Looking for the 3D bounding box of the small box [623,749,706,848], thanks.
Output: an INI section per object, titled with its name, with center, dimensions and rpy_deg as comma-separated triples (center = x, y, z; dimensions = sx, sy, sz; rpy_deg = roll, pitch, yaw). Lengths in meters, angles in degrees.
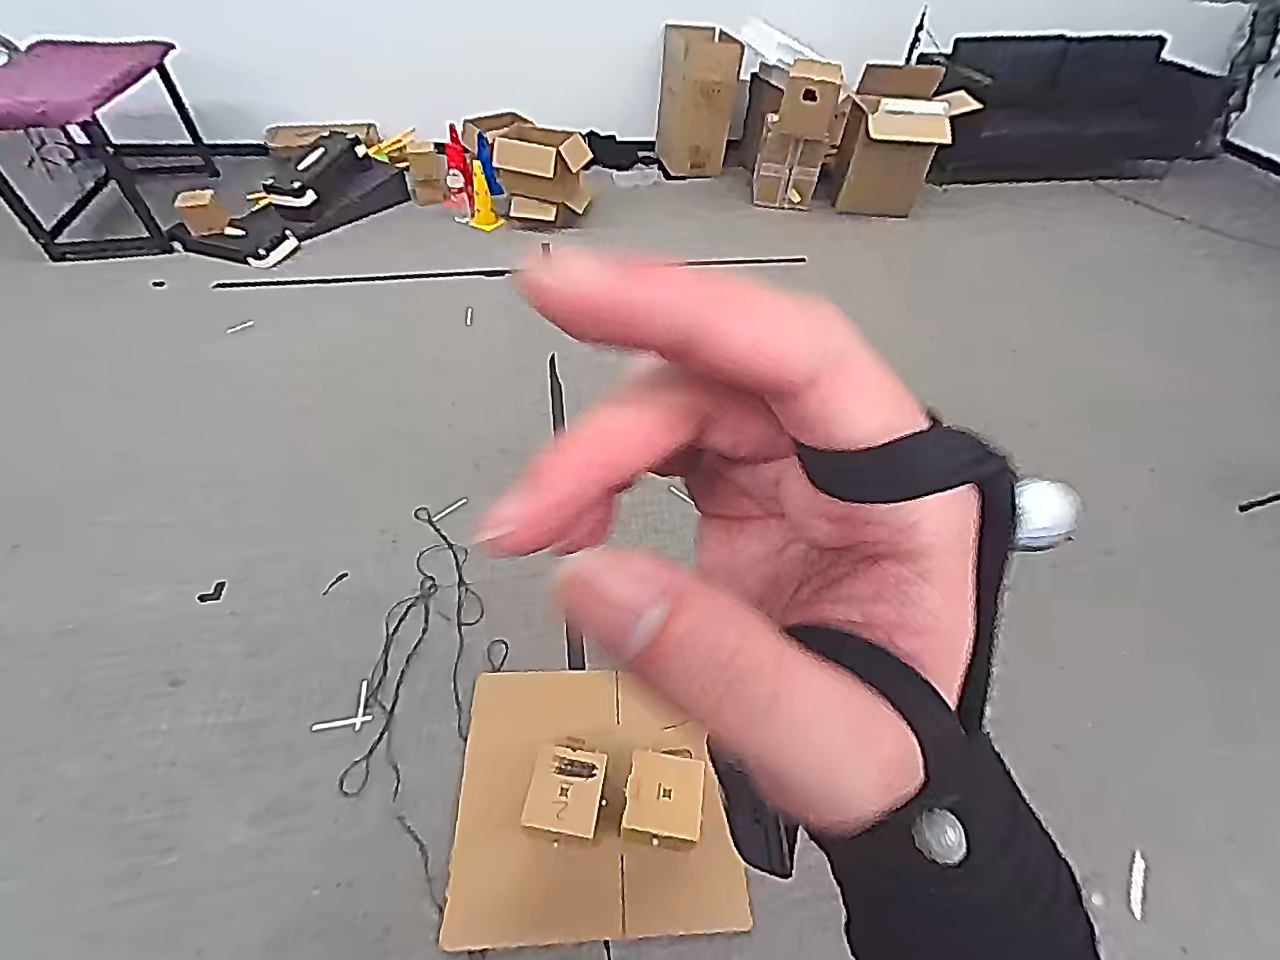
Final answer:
[small box]
center = 0.058, 0.781, 1.318
dimensions = 0.179, 0.176, 0.168
rpy_deg = 8, 49, 5
